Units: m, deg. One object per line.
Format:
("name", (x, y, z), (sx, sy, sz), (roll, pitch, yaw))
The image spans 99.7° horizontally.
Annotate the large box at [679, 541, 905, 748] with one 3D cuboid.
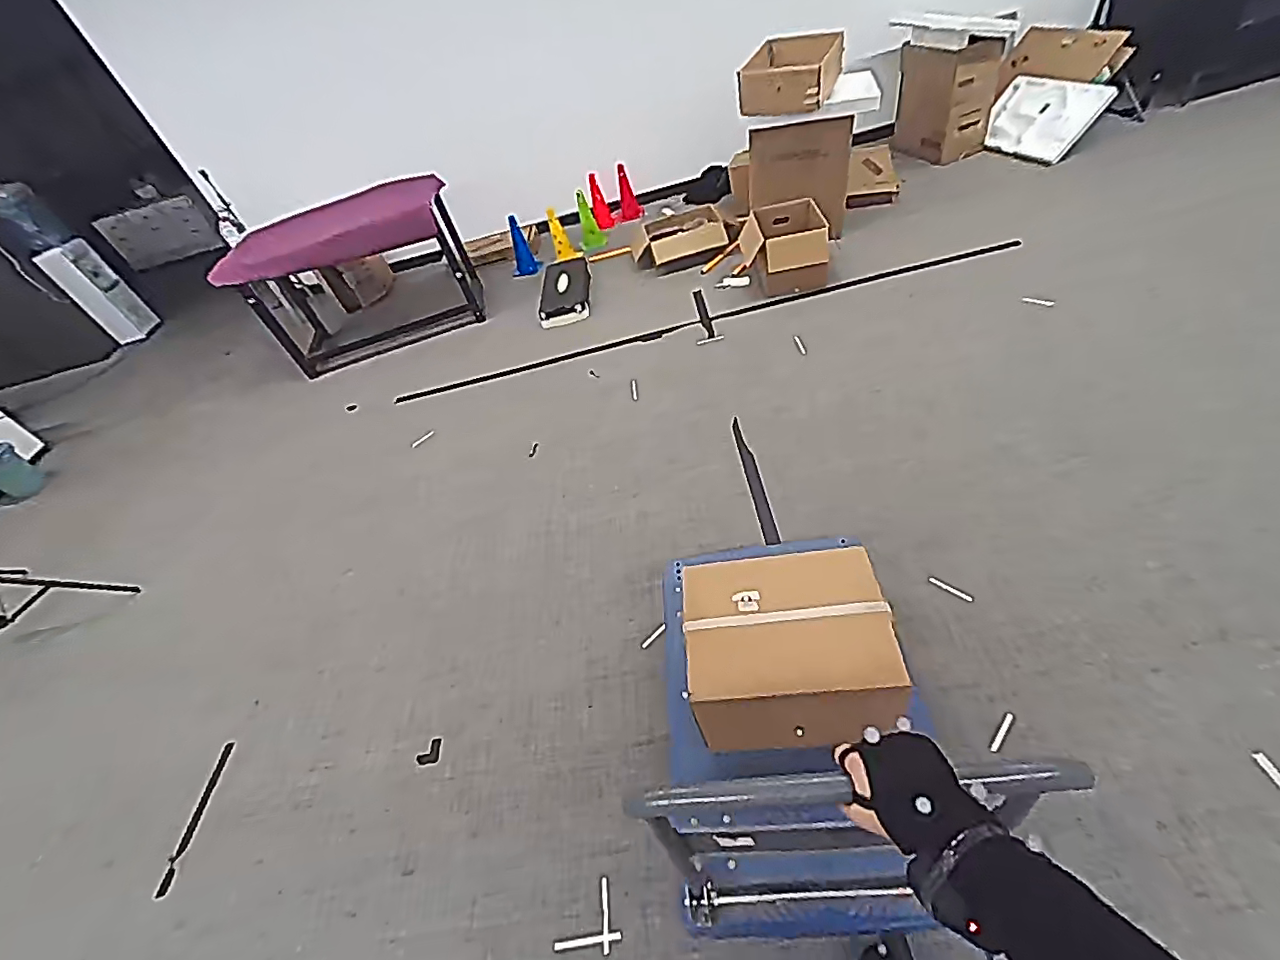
("large box", (0.319, 0.374, 1.201), (0.408, 0.320, 0.320), (-9, 44, 10))
